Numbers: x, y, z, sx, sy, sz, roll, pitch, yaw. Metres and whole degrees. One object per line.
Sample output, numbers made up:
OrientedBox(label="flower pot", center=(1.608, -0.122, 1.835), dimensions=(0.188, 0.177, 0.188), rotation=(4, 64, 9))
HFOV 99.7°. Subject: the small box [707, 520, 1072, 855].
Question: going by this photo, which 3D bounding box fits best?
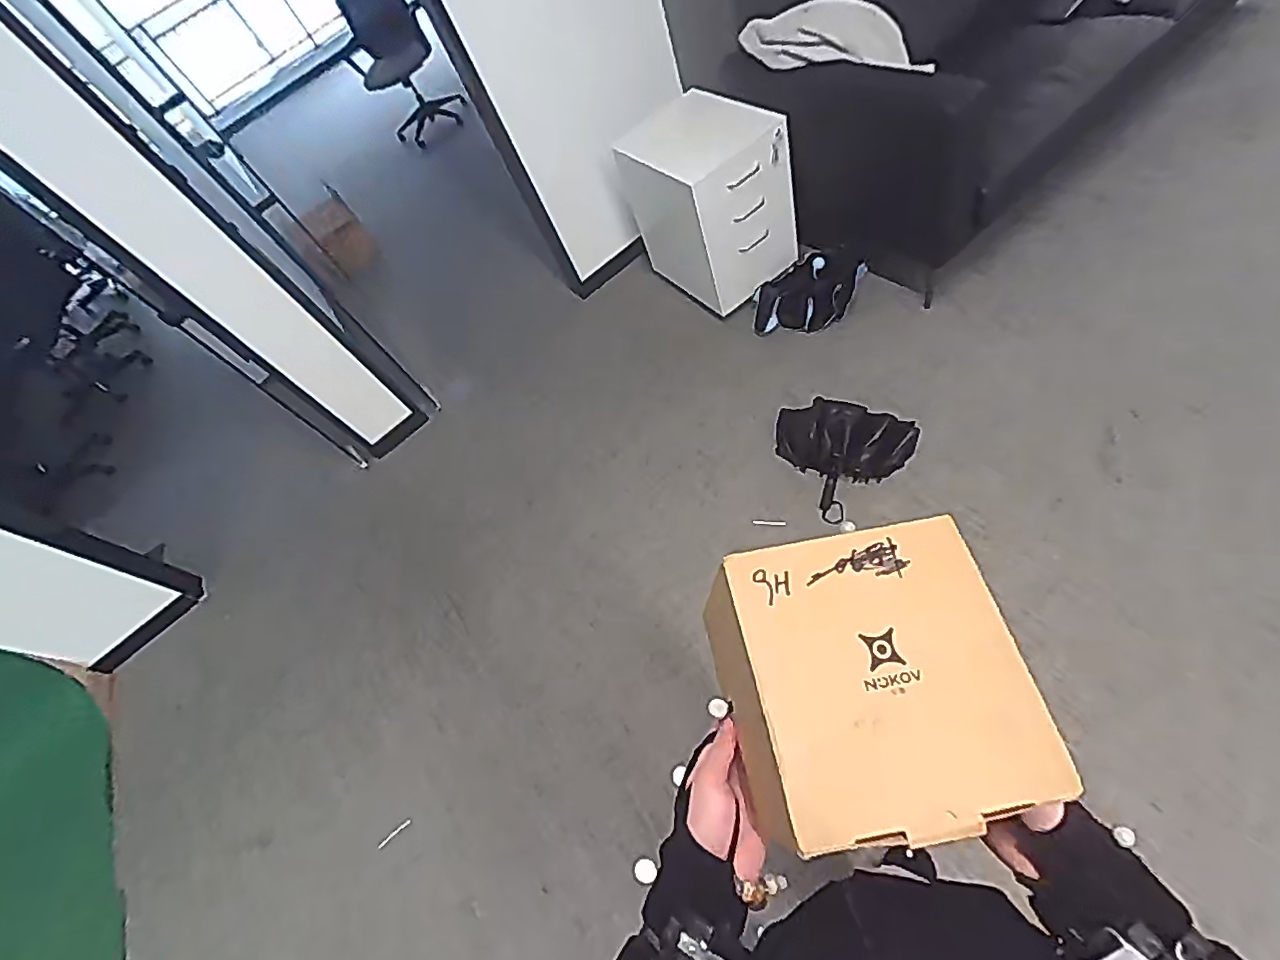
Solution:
OrientedBox(label="small box", center=(0.153, 0.150, 0.408), dimensions=(0.168, 0.176, 0.179), rotation=(-9, 64, -4))
